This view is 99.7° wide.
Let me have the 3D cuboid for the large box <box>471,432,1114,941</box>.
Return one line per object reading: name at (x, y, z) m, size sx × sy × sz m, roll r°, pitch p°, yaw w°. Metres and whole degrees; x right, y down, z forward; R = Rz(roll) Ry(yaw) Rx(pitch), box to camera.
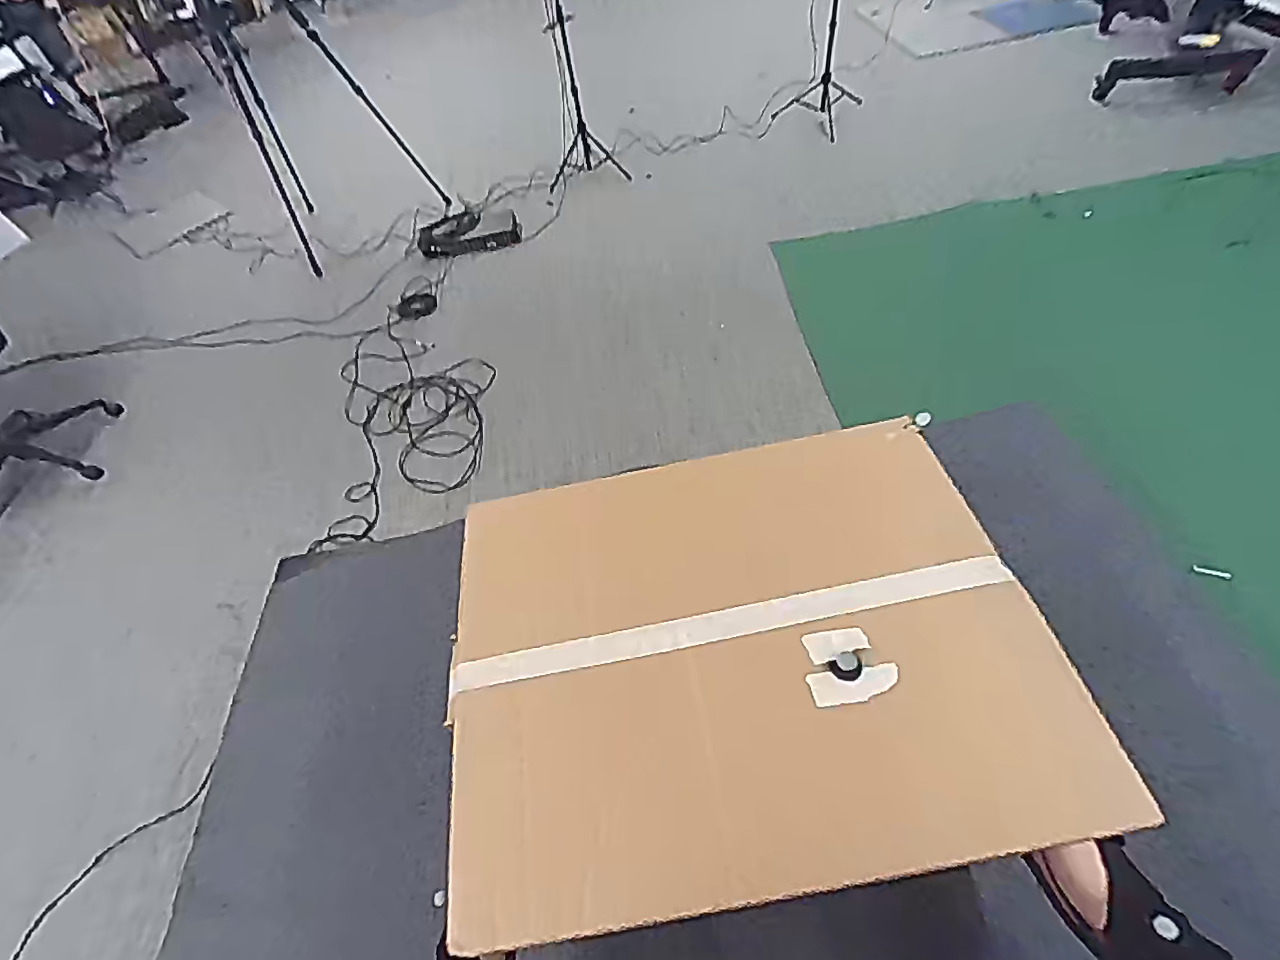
large box at (0.085, 0.202, 0.529) m, size 0.408 × 0.320 × 0.320 m, roll -11°, pitch 53°, yaw 0°
